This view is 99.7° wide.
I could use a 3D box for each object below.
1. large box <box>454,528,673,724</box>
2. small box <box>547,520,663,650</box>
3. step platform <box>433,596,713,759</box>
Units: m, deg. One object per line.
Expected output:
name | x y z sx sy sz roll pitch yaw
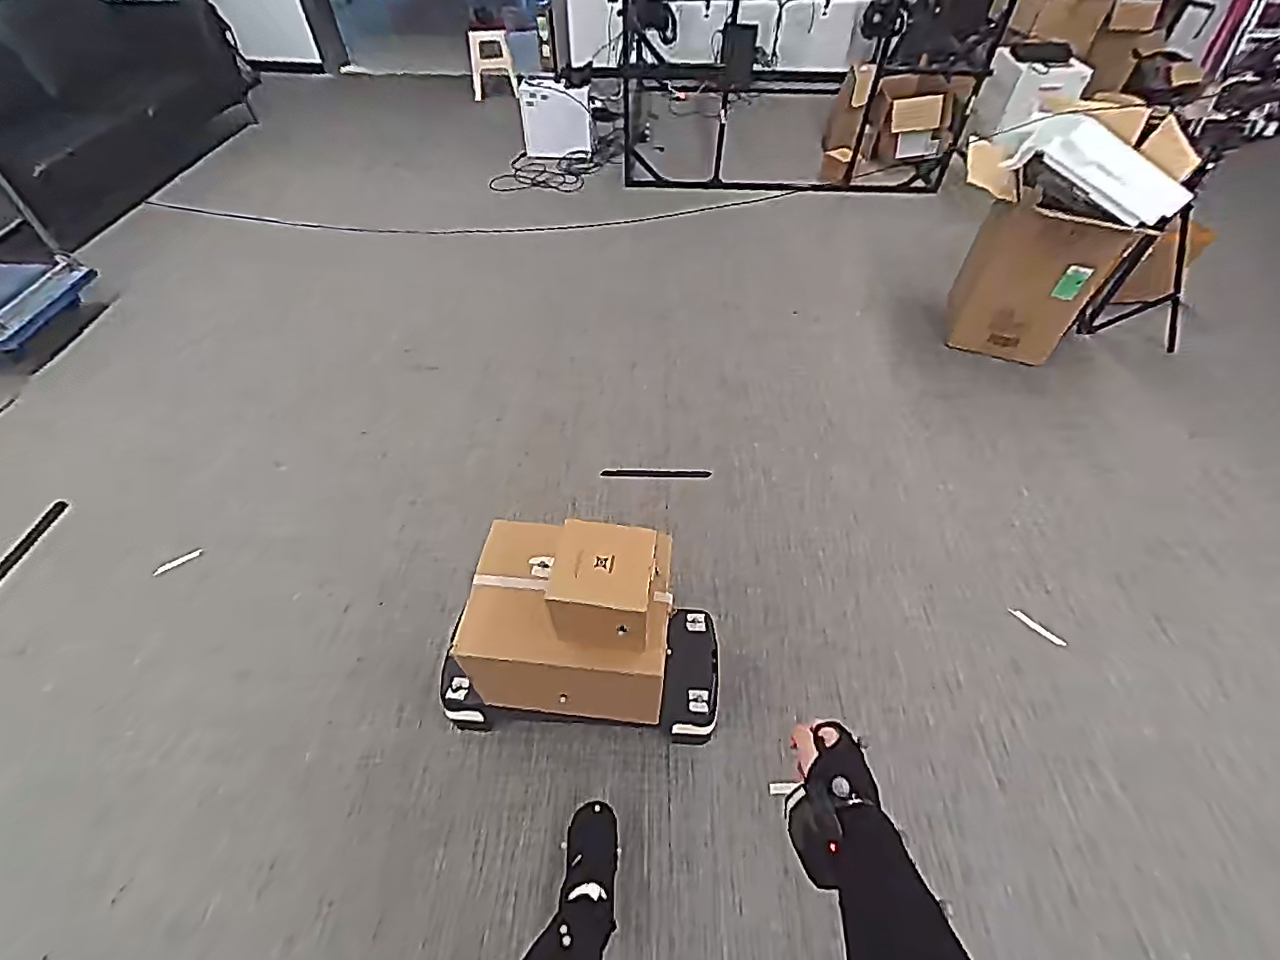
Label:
large box | -0.134 0.328 1.200 0.408 0.320 0.320 4 49 4
small box | -0.056 0.196 0.991 0.179 0.176 0.168 7 51 6
step platform | -0.157 0.489 1.376 0.684 0.204 0.286 6 50 6
